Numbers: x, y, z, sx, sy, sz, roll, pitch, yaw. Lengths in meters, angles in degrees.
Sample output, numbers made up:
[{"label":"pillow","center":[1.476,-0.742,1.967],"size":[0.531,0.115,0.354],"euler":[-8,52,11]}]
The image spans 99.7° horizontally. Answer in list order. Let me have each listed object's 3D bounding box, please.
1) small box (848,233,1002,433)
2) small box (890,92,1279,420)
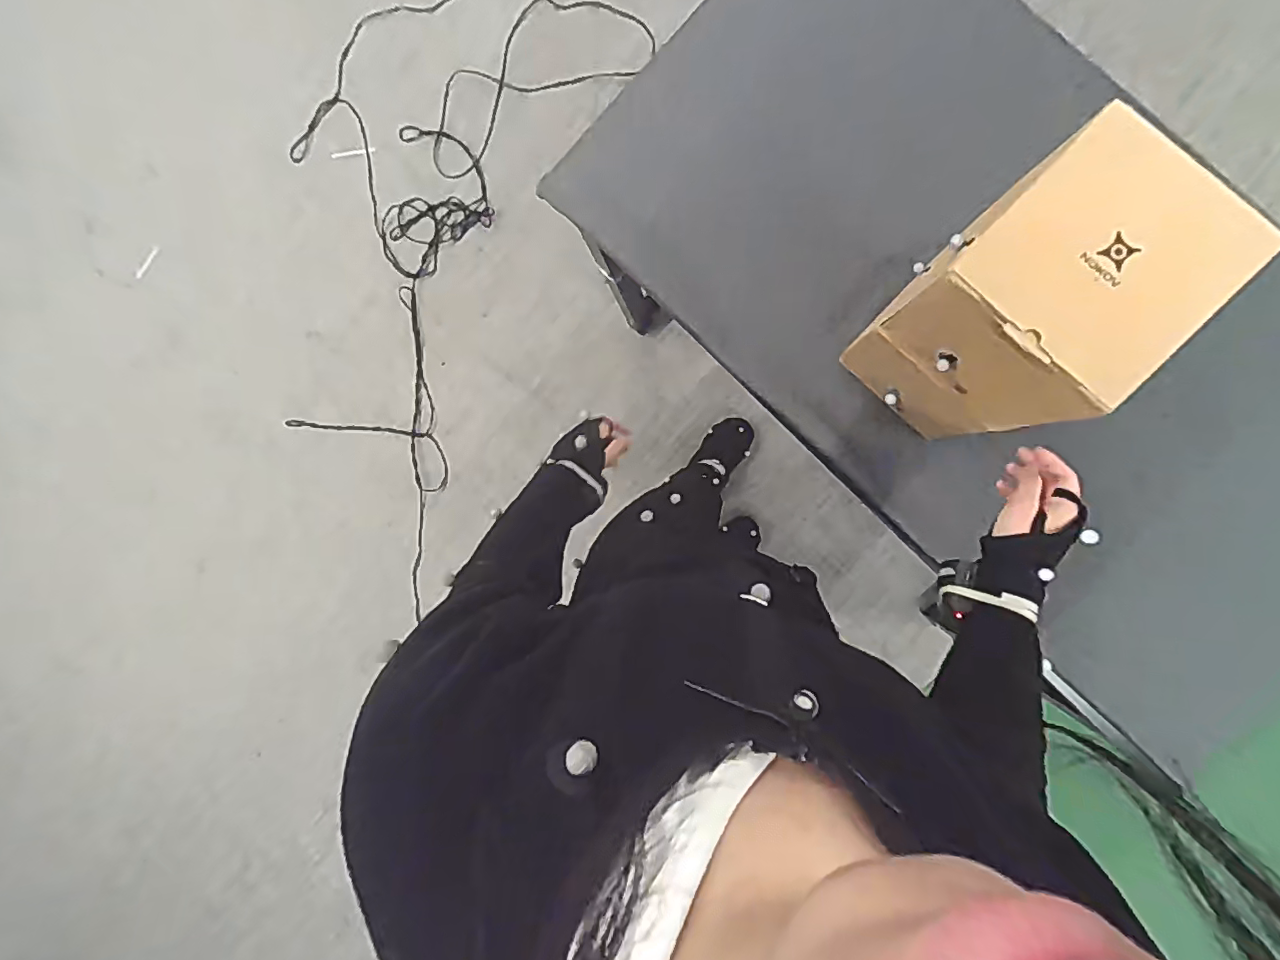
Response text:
[{"label":"small box","center":[0.380,-0.175,0.641],"size":[0.168,0.176,0.179],"euler":[43,95,5]},{"label":"small box","center":[0.362,-0.172,0.480],"size":[0.168,0.176,0.179],"euler":[43,95,4]}]
